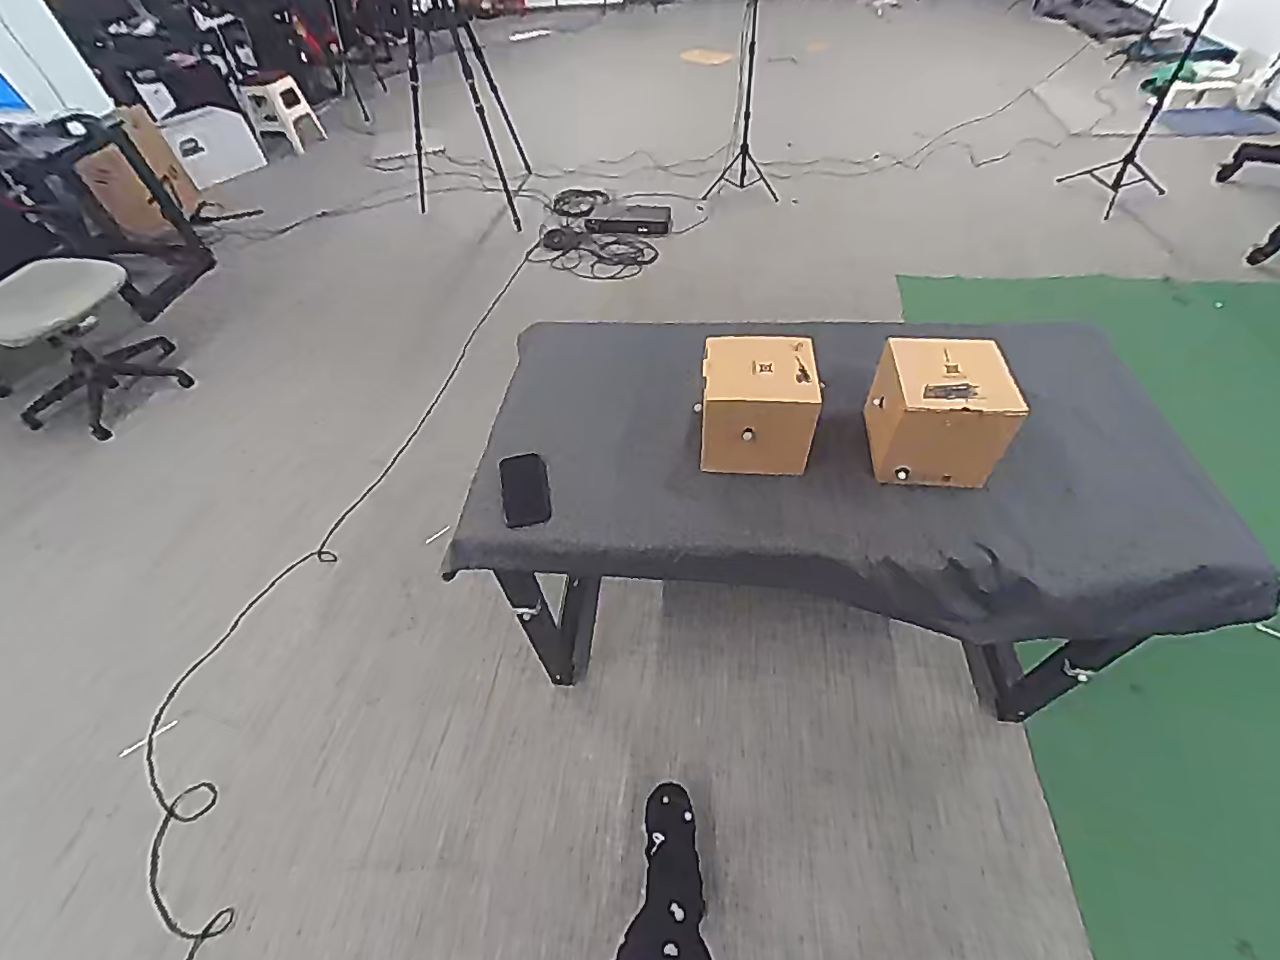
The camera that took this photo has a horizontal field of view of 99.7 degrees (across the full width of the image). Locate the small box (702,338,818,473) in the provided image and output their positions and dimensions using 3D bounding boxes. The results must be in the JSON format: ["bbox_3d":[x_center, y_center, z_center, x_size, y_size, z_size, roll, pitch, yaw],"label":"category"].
[{"bbox_3d":[0.197,-0.126,0.931,0.179,0.176,0.168,2,50,7],"label":"small box"}]

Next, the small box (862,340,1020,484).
[{"bbox_3d":[0.480,-0.111,0.896,0.168,0.176,0.179,4,49,7],"label":"small box"}]
